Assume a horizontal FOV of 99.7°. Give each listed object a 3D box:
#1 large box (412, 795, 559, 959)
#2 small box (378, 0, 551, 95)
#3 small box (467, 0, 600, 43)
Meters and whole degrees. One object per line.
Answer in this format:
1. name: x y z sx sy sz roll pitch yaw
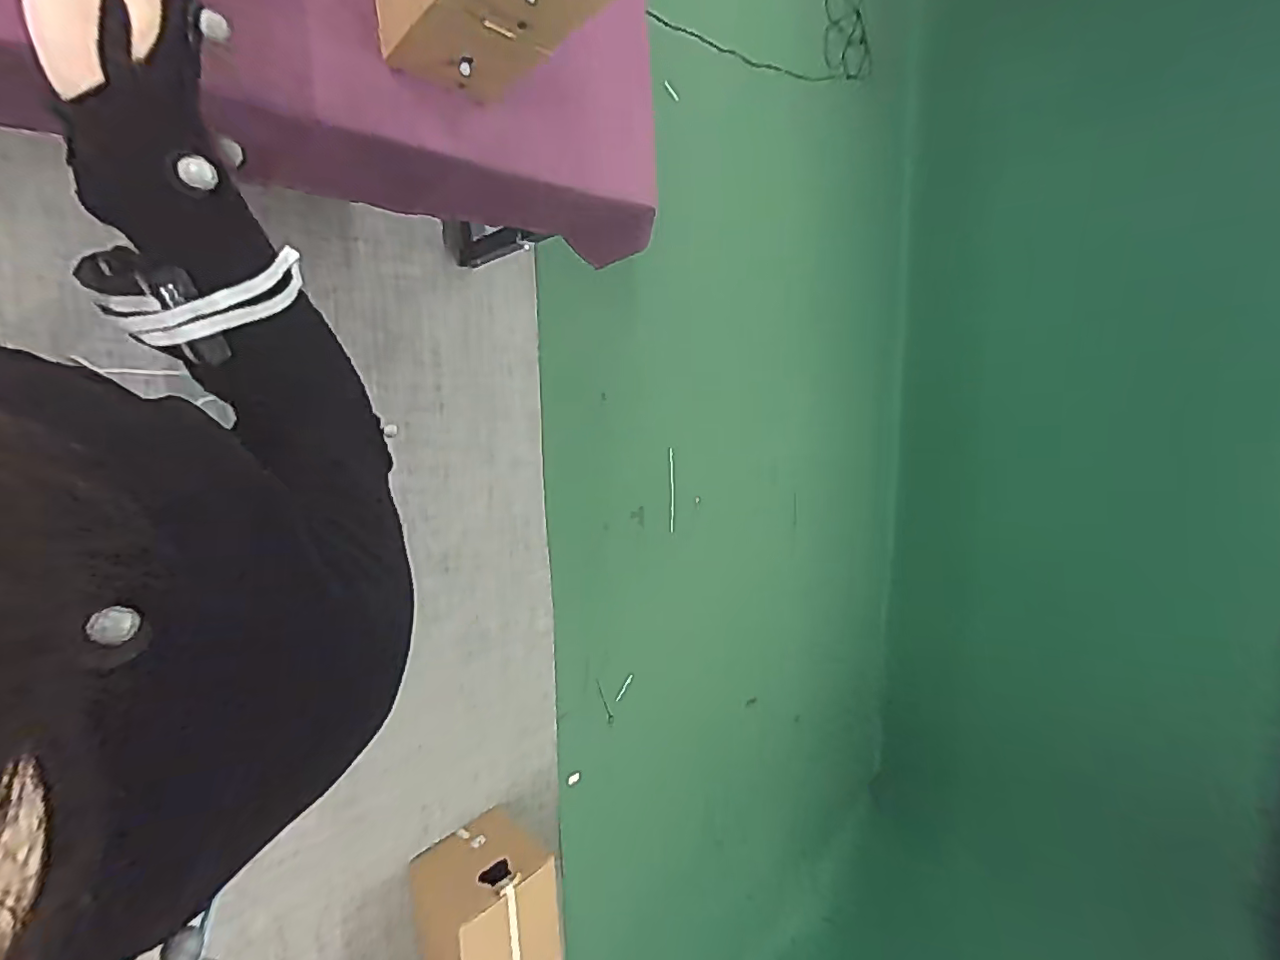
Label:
1. large box: -0.477 1.305 1.682 0.320 0.320 0.408 -12 105 -44
2. small box: -0.236 -0.658 0.719 0.168 0.176 0.179 -12 104 -44
3. small box: -0.122 -0.643 0.601 0.168 0.176 0.179 -13 104 -44
